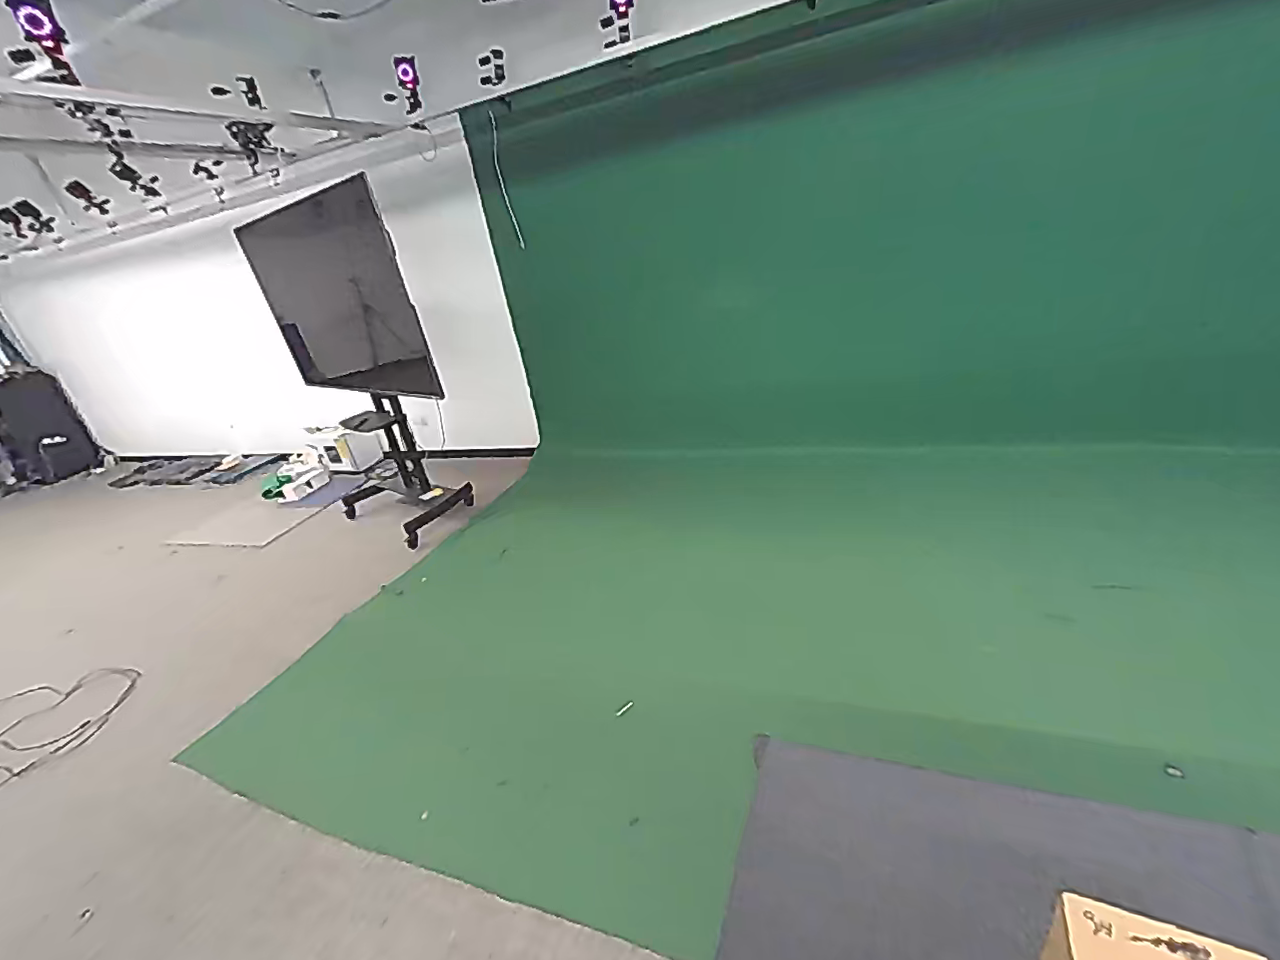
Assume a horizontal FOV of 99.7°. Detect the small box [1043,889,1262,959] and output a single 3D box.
[{"bbox_3d":[0.521,0.573,0.539,0.168,0.176,0.179,1,26,27],"label":"small box"}]
